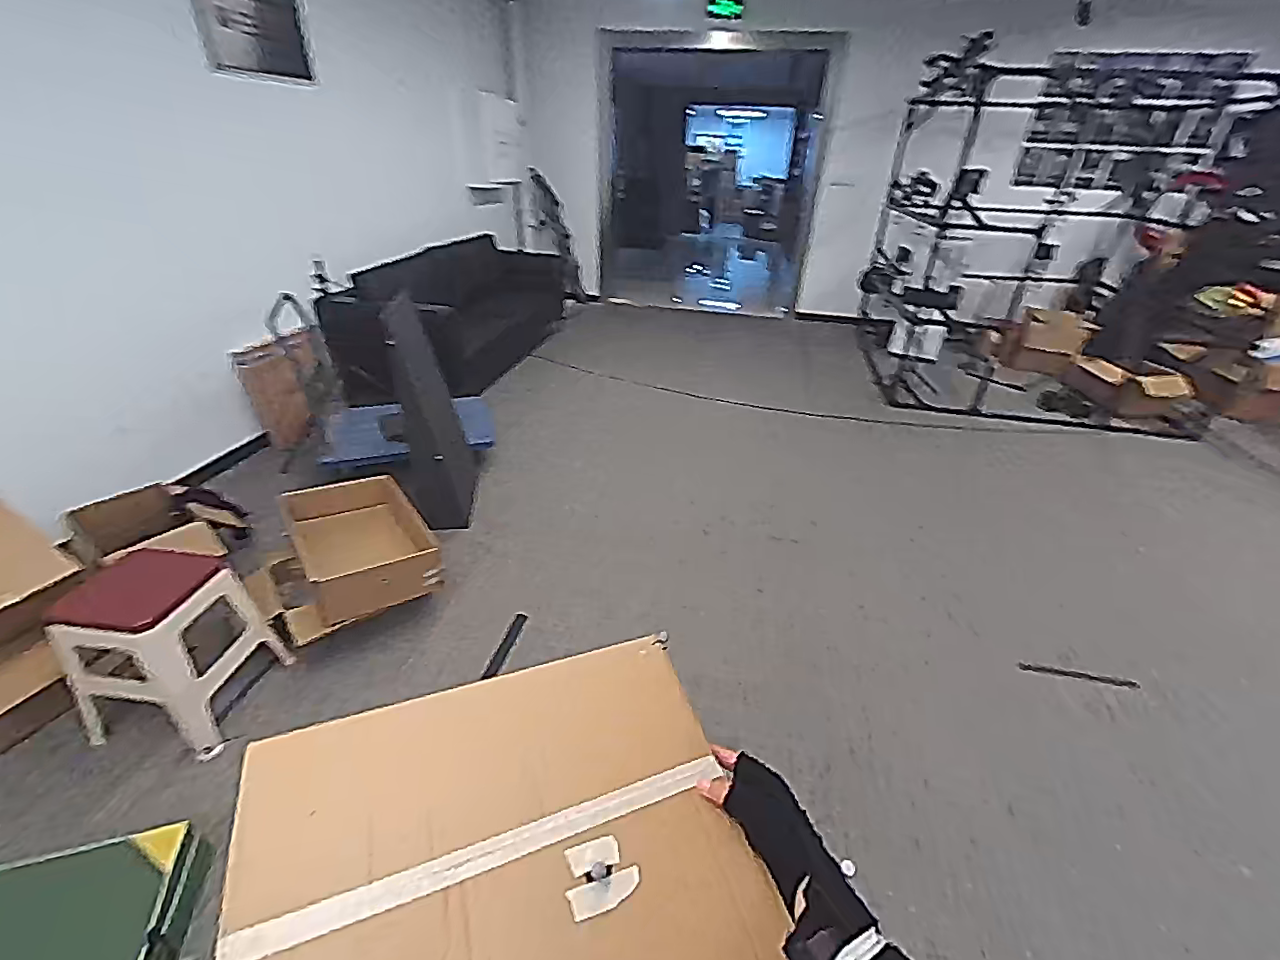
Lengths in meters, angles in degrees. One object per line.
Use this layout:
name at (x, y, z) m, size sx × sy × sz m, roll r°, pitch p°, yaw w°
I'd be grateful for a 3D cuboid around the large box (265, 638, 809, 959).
large box at (-0.113, 0.424, 0.566) m, size 0.408 × 0.320 × 0.320 m, roll -8°, pitch 43°, yaw -19°
